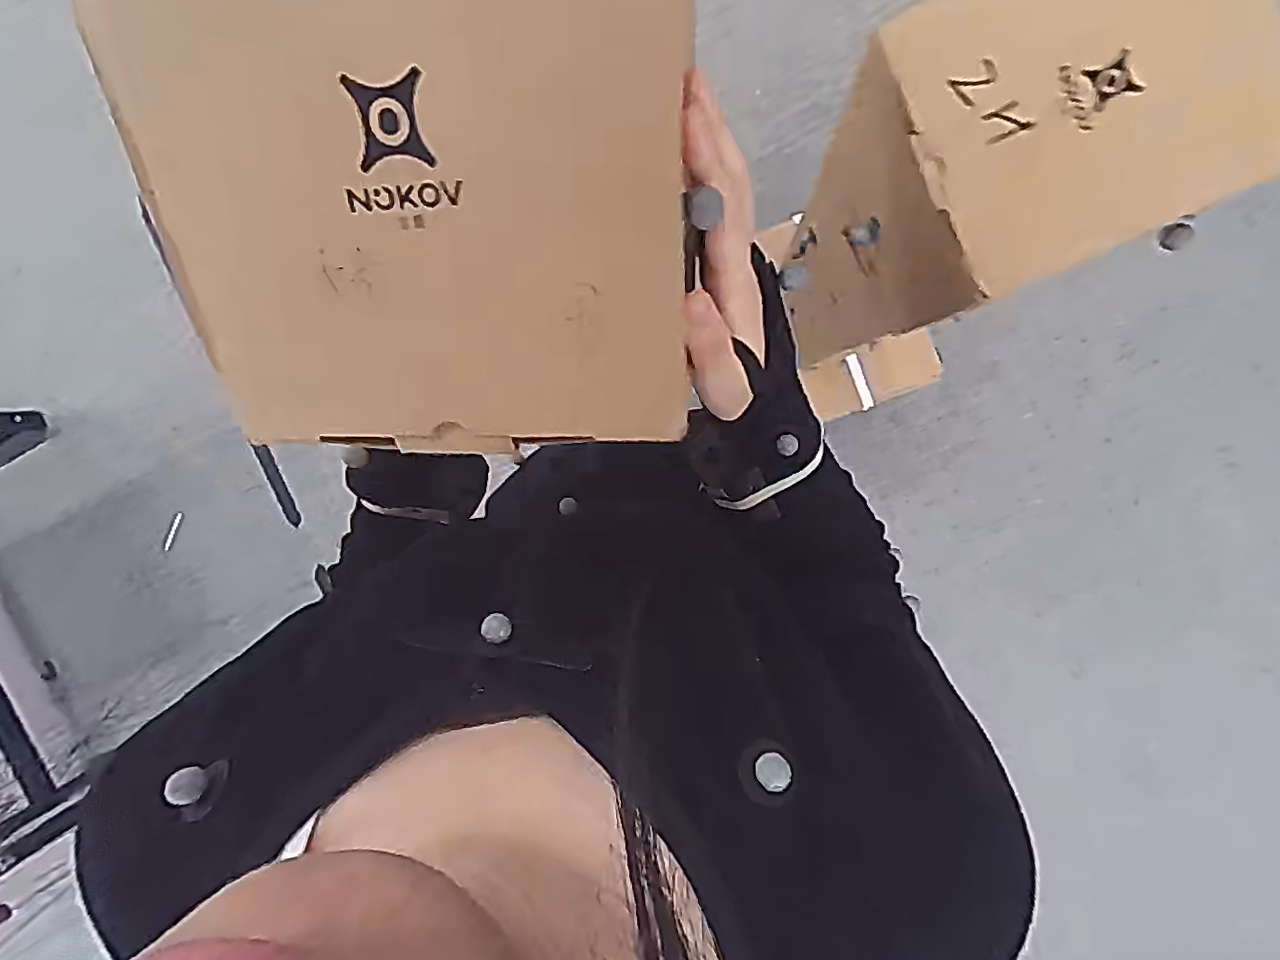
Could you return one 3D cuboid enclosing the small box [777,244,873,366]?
[{"bbox_3d":[0.330,-0.290,0.850,0.179,0.176,0.168,-22,94,12],"label":"small box"}]

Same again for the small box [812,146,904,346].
[{"bbox_3d":[0.280,-0.243,0.529,0.179,0.176,0.168,-20,95,10],"label":"small box"}]

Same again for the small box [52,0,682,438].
[{"bbox_3d":[-0.069,-0.129,0.230,0.168,0.176,0.179,0,115,7],"label":"small box"}]

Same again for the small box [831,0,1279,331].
[{"bbox_3d":[0.254,-0.219,0.368,0.179,0.176,0.168,-23,94,12],"label":"small box"}]

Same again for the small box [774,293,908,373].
[{"bbox_3d":[0.362,-0.312,1.008,0.168,0.176,0.179,-23,95,11],"label":"small box"}]
